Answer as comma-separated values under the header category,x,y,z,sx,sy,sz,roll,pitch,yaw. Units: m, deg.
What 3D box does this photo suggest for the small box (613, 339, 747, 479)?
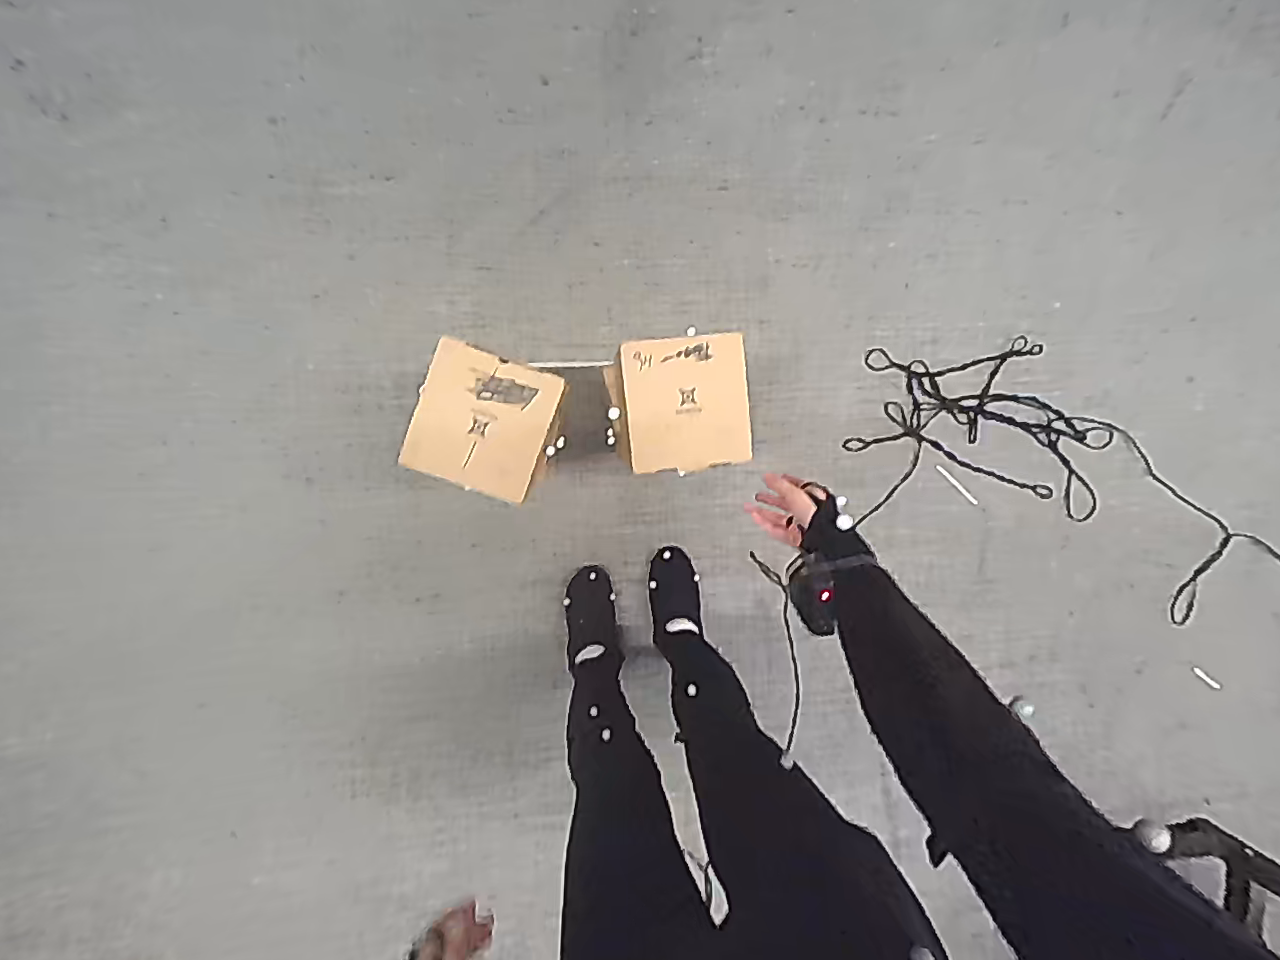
category,x,y,z,sx,sy,sz,roll,pitch,yaw
small box,0.051,-0.103,0.795,0.168,0.176,0.179,-6,96,-5

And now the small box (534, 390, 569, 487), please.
category,x,y,z,sx,sy,sz,roll,pitch,yaw
small box,-0.228,-0.090,0.934,0.179,0.176,0.168,15,91,-7

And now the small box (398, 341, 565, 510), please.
category,x,y,z,sx,sy,sz,roll,pitch,yaw
small box,-0.213,-0.073,0.771,0.168,0.176,0.179,20,91,-7

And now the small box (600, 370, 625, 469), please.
category,x,y,z,sx,sy,sz,roll,pitch,yaw
small box,0.031,-0.118,0.956,0.179,0.176,0.168,-14,96,-4
